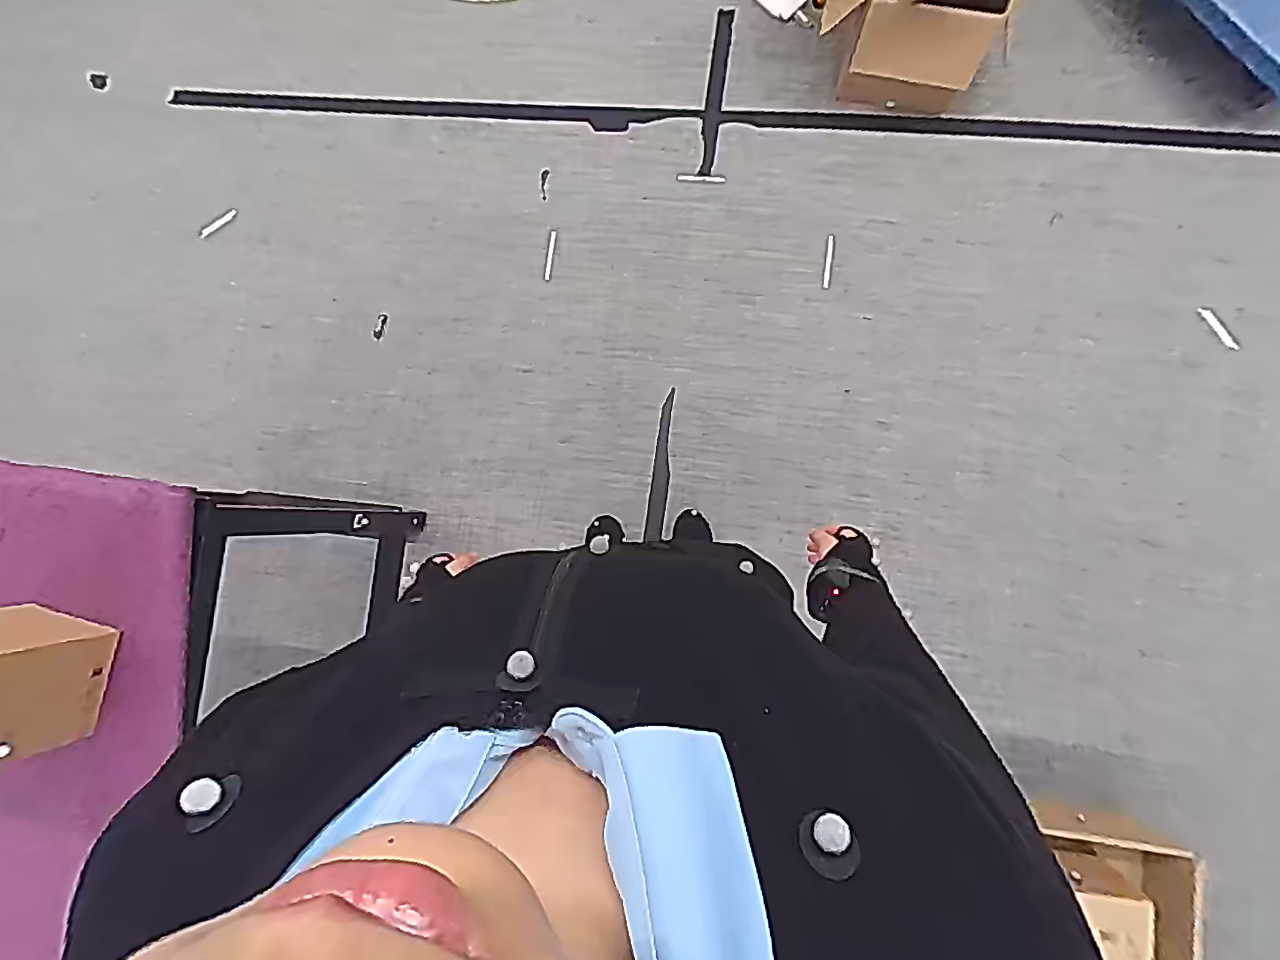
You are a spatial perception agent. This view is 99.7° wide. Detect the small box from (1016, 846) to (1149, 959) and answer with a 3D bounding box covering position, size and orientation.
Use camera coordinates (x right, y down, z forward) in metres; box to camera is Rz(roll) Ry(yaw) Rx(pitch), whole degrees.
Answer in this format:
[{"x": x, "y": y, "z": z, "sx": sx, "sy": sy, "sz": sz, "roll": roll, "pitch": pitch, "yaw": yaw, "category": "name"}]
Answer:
[{"x": 0.990, "y": 0.968, "z": 1.225, "sx": 0.179, "sy": 0.176, "sz": 0.168, "roll": 4, "pitch": 87, "yaw": 6, "category": "small box"}]
